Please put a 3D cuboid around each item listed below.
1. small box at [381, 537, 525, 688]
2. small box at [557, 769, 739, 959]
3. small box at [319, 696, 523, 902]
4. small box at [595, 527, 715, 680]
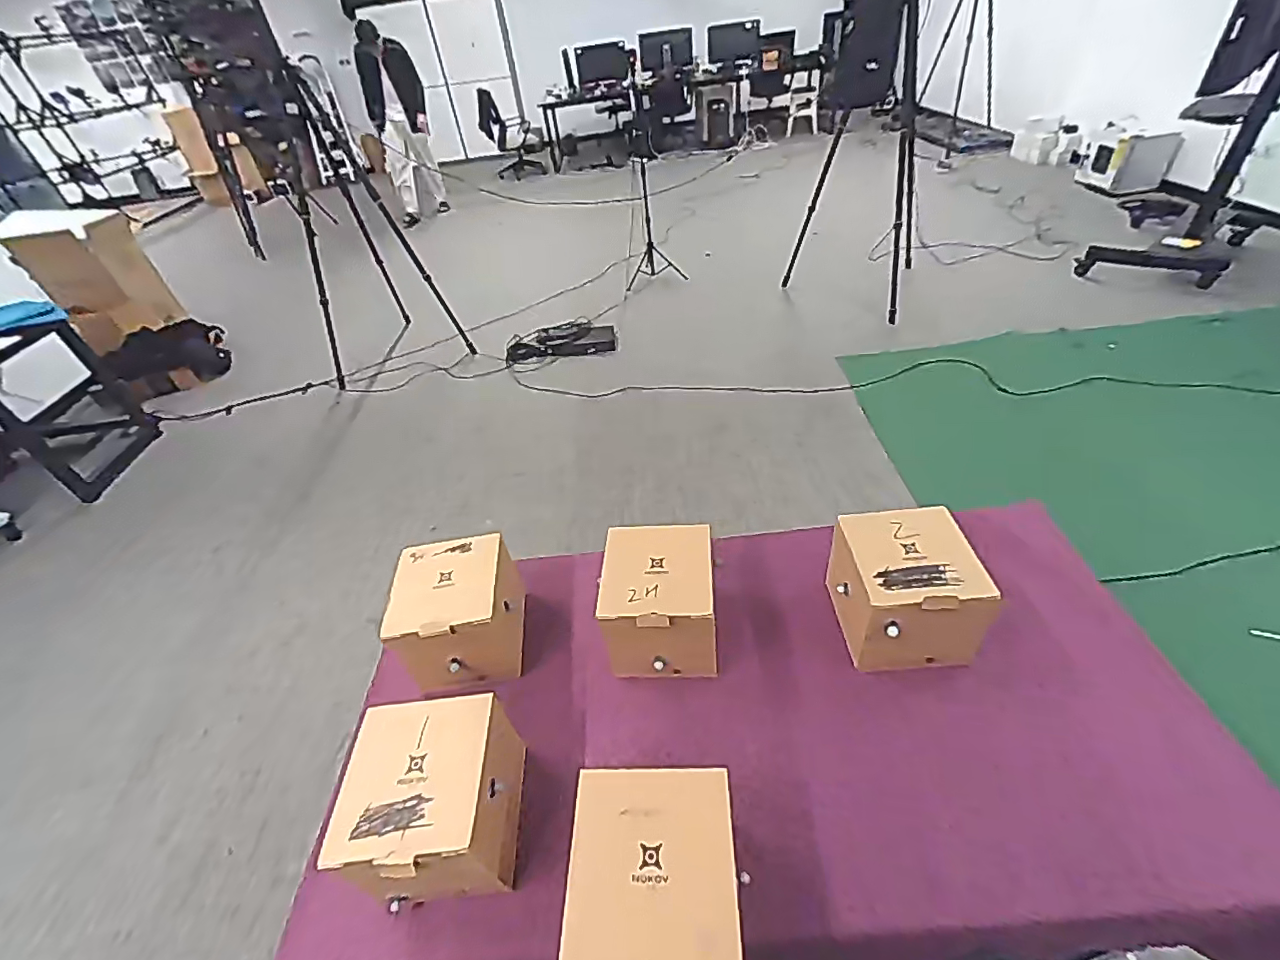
[{"bbox_3d":[-0.292,0.223,0.887,0.168,0.176,0.179,-9,42,-1],"label":"small box"},{"bbox_3d":[0.020,0.438,0.585,0.168,0.176,0.179,-3,40,6],"label":"small box"},{"bbox_3d":[-0.252,0.401,0.676,0.168,0.176,0.179,-7,39,1],"label":"small box"},{"bbox_3d":[0.033,0.194,0.859,0.168,0.176,0.179,-3,42,8],"label":"small box"}]
